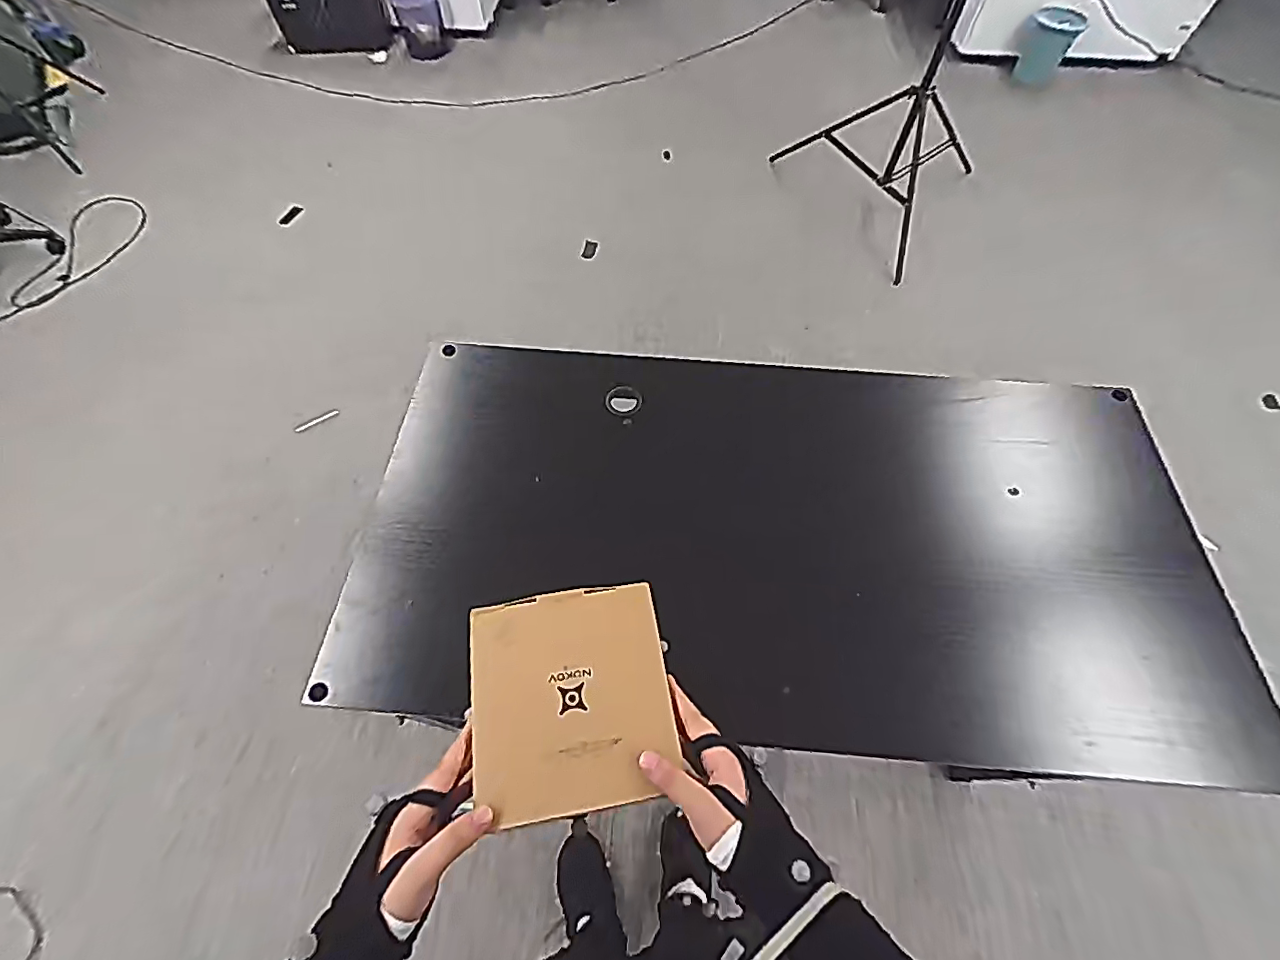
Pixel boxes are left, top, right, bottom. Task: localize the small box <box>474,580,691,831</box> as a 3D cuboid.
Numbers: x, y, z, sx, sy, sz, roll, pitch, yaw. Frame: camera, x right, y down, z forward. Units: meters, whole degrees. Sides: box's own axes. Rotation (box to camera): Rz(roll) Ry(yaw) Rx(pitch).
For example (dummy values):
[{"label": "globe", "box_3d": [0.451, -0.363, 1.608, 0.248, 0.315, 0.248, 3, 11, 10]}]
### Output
[{"label": "small box", "box_3d": [-0.058, 0.217, 0.517, 0.168, 0.176, 0.179, -8, 60, -7]}]
